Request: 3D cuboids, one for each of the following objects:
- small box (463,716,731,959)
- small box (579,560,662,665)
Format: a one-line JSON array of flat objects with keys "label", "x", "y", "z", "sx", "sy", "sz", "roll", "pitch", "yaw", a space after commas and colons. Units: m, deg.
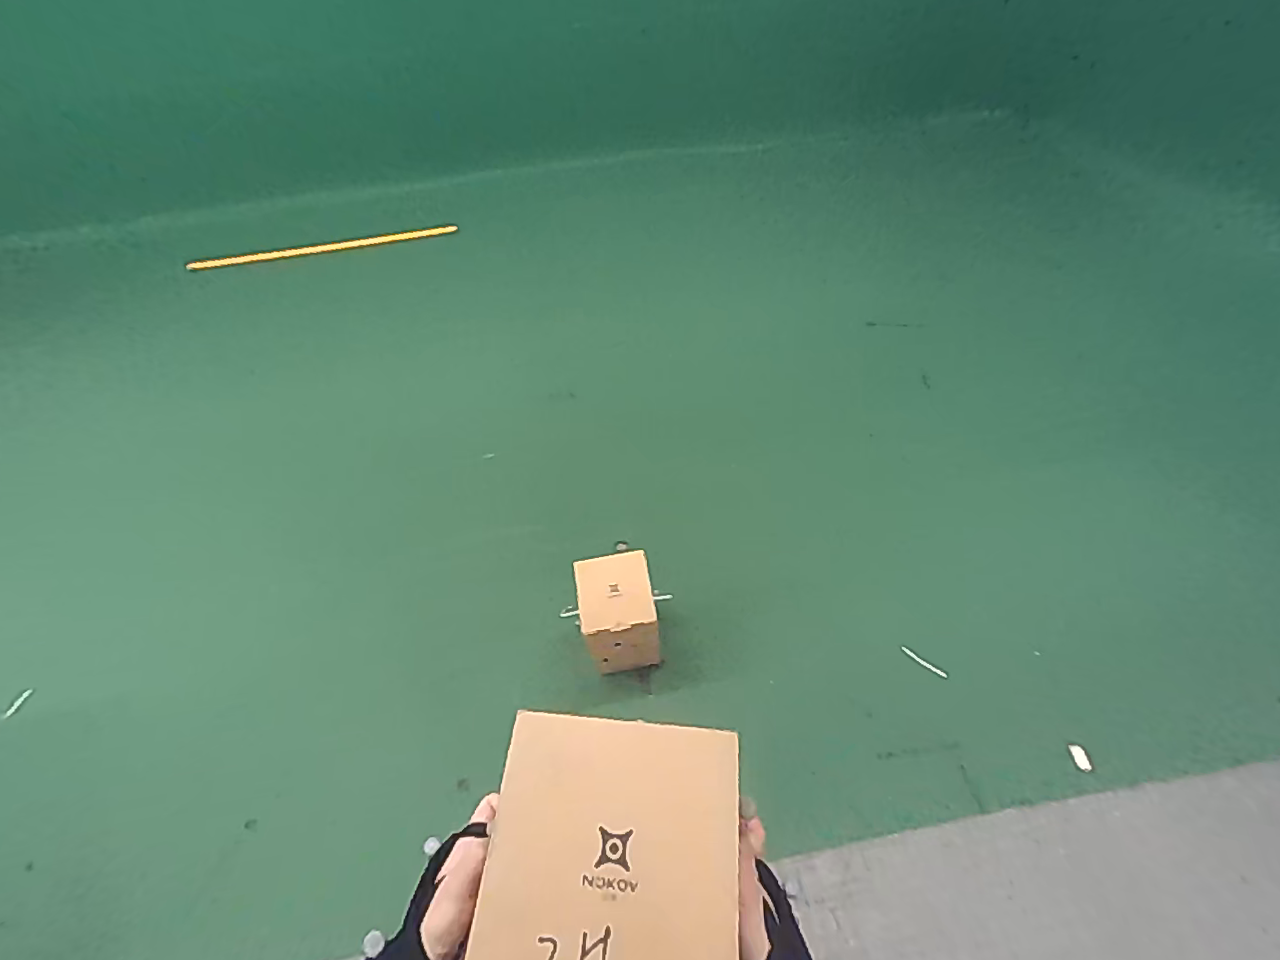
[{"label": "small box", "x": -0.018, "y": 0.300, "z": 0.421, "sx": 0.168, "sy": 0.176, "sz": 0.179, "roll": 2, "pitch": 56, "yaw": 6}, {"label": "small box", "x": -0.044, "y": 0.313, "z": 1.271, "sx": 0.168, "sy": 0.176, "sz": 0.179, "roll": -10, "pitch": 56, "yaw": -3}]
